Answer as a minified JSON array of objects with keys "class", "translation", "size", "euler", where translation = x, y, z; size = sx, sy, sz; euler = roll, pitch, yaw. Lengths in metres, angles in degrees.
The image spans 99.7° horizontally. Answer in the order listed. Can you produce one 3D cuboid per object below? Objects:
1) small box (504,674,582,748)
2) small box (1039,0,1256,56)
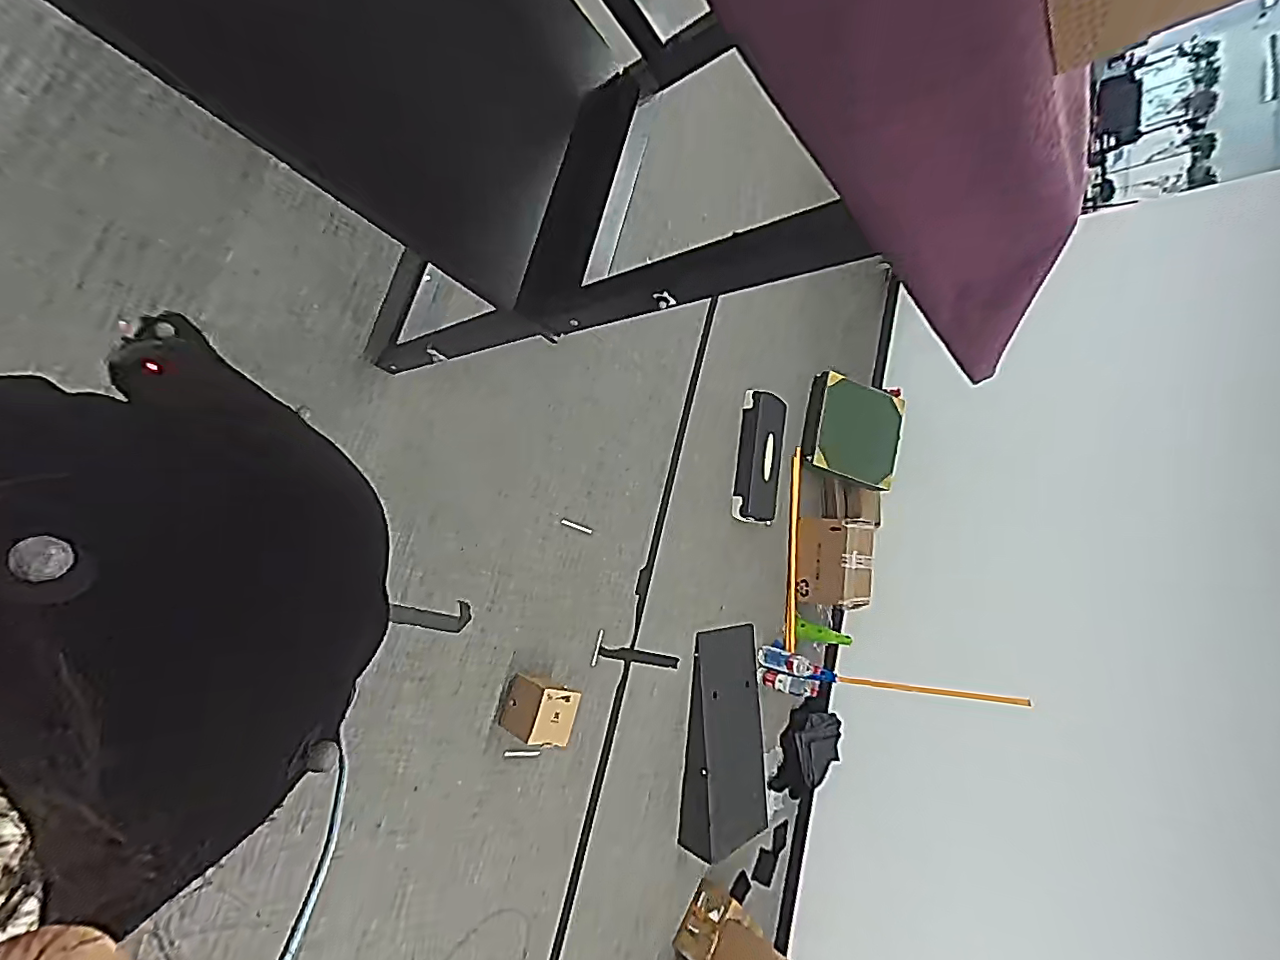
[{"class":"small box","translation":[-0.329,0.767,1.802],"size":[0.168,0.176,0.179],"euler":[30,72,-43]},{"class":"small box","translation":[0.344,-0.409,0.326],"size":[0.179,0.176,0.168],"euler":[30,69,-42]}]
